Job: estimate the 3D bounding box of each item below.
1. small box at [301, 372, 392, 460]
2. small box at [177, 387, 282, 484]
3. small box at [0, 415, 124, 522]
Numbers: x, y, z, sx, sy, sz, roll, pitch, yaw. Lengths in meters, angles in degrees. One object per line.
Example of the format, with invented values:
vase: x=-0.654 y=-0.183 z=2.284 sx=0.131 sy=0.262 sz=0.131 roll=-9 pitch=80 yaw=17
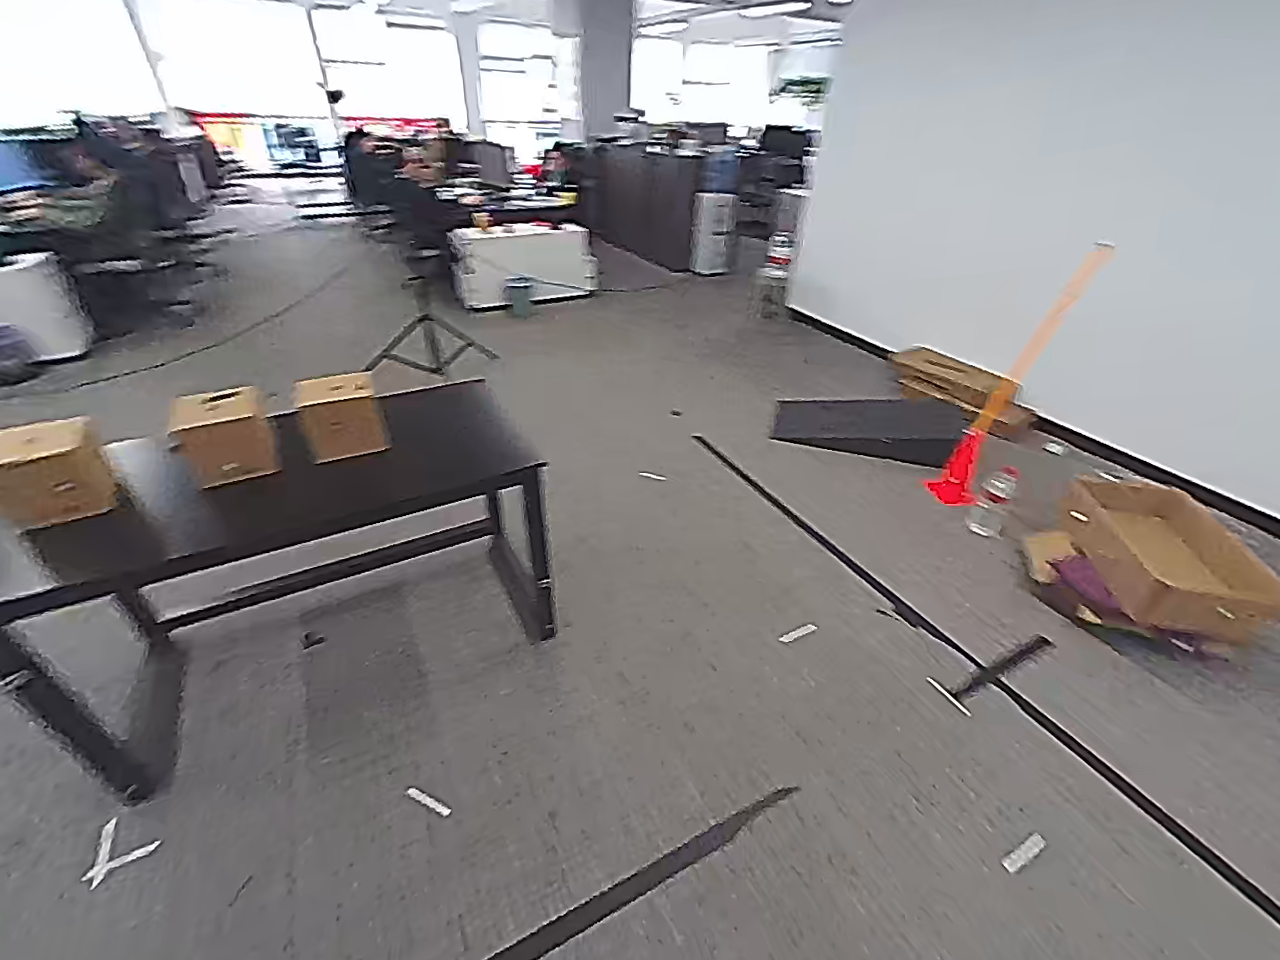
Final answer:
small box: x=-0.791 y=-0.173 z=1.463 sx=0.179 sy=0.176 sz=0.168 roll=-15 pitch=38 yaw=-23
small box: x=-1.023 y=-0.114 z=1.361 sx=0.168 sy=0.176 sz=0.179 roll=-17 pitch=40 yaw=-25
small box: x=-1.306 y=-0.022 z=1.213 sx=0.168 sy=0.176 sz=0.179 roll=-17 pitch=39 yaw=-28
